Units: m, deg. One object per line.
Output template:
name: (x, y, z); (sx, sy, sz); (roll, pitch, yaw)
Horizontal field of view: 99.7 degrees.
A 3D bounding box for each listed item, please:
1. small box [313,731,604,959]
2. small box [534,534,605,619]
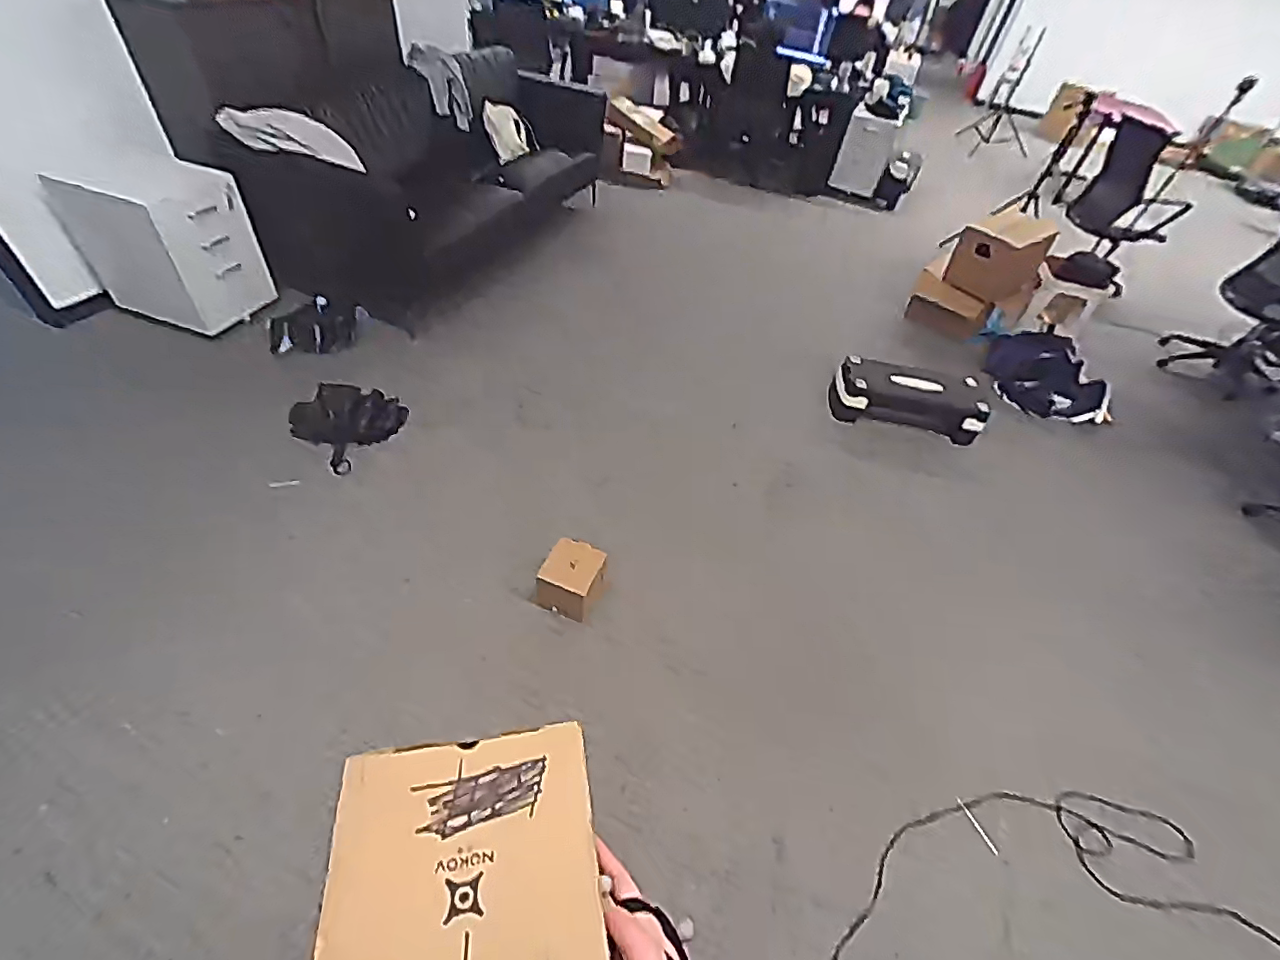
small box: (-0.121, 0.312, 0.393); (0.168, 0.176, 0.179); (-2, 46, -13)
small box: (-0.225, 0.310, 1.726); (0.168, 0.176, 0.179); (19, 48, 10)
